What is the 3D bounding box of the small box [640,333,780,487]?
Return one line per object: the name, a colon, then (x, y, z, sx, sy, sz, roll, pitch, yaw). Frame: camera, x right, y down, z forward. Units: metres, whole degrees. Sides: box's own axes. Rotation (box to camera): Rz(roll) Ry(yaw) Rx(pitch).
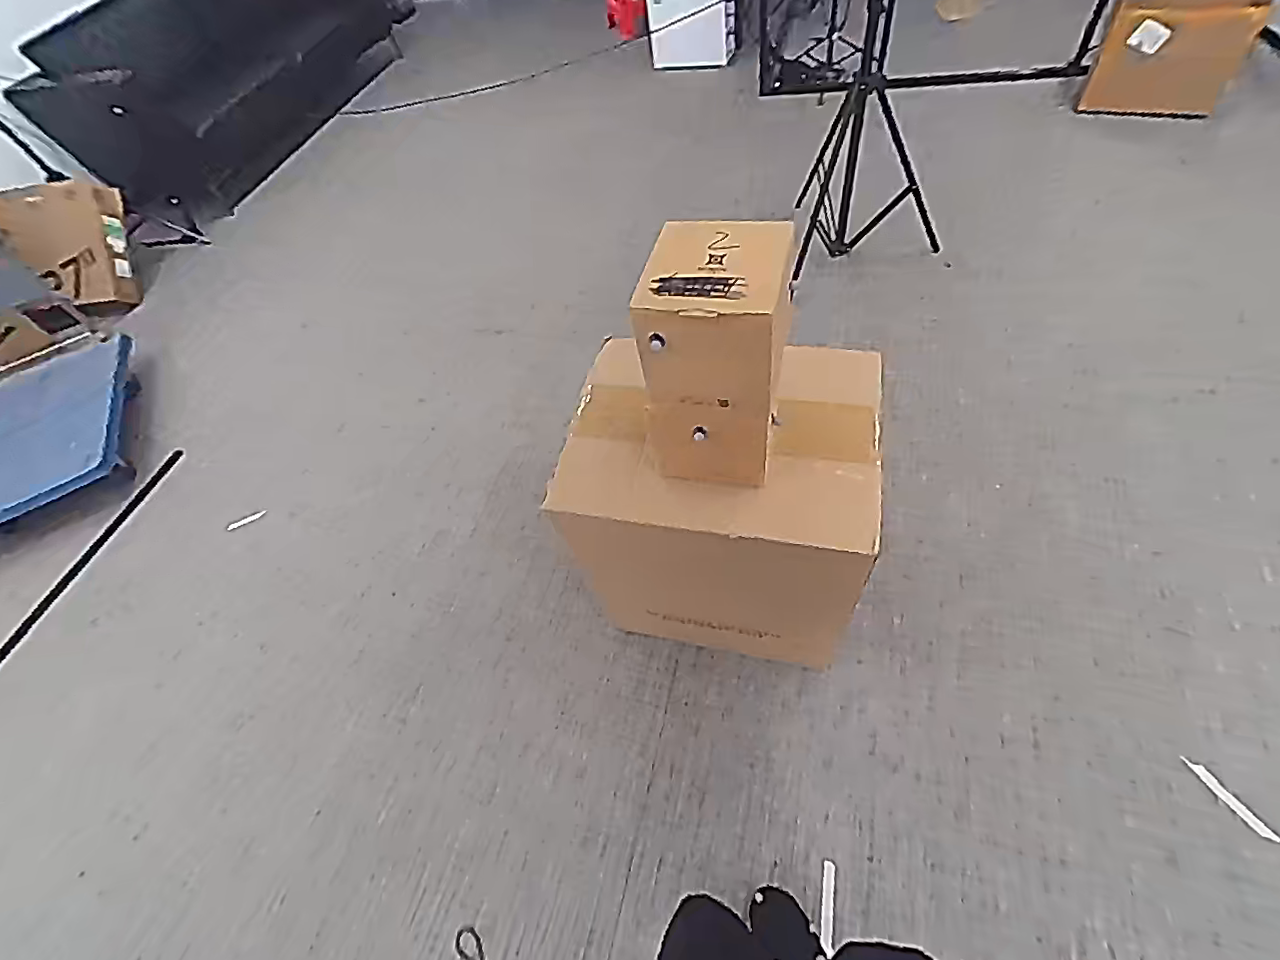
small box: (0.115, -0.104, 0.836, 0.179, 0.176, 0.168, 7, 58, 16)
